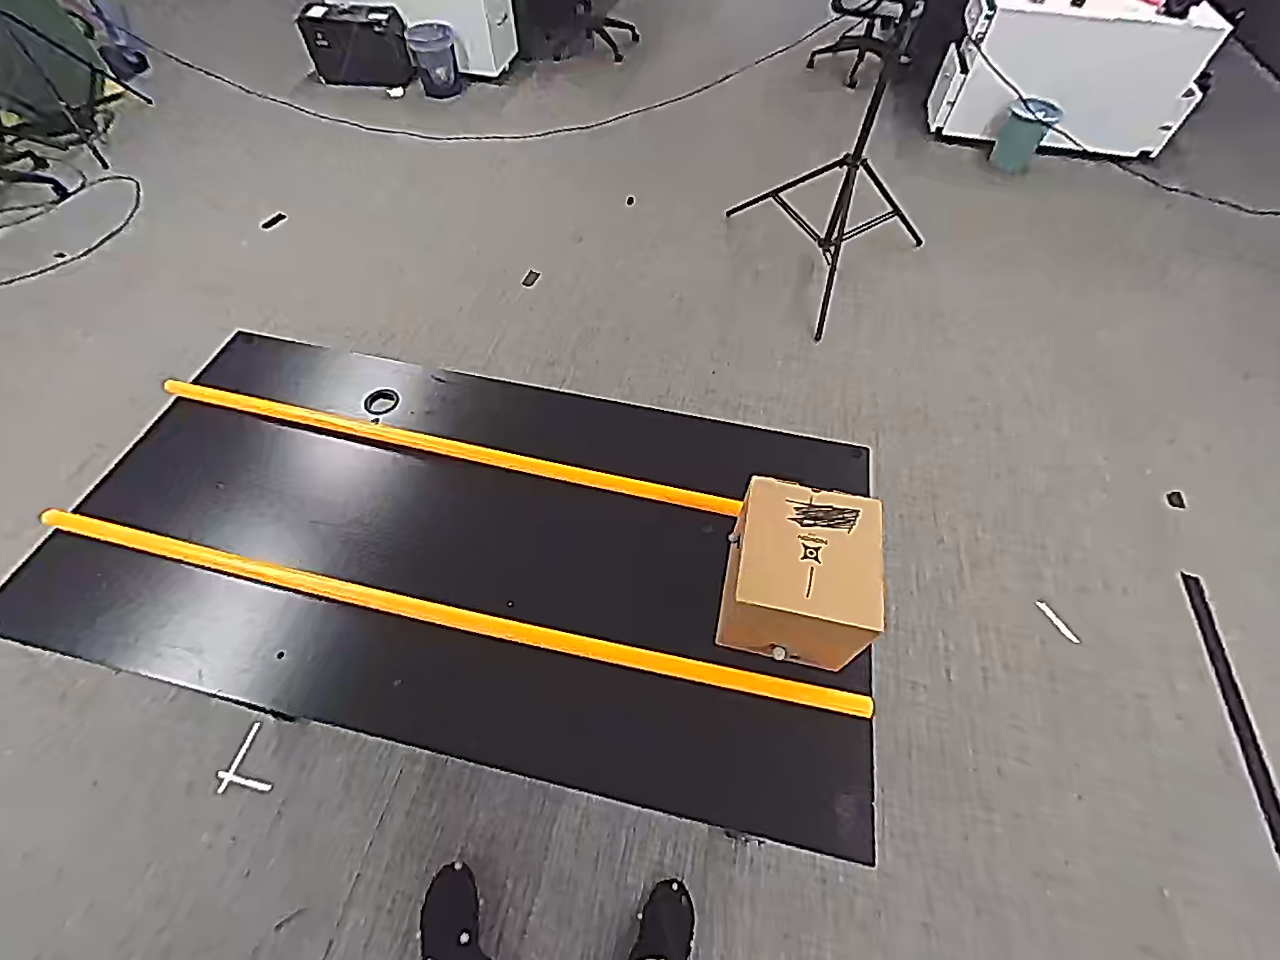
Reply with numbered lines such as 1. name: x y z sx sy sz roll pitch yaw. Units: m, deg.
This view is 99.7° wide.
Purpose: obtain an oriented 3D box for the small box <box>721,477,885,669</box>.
1. small box: 0.207 0.125 0.712 0.168 0.176 0.179 11 57 7
